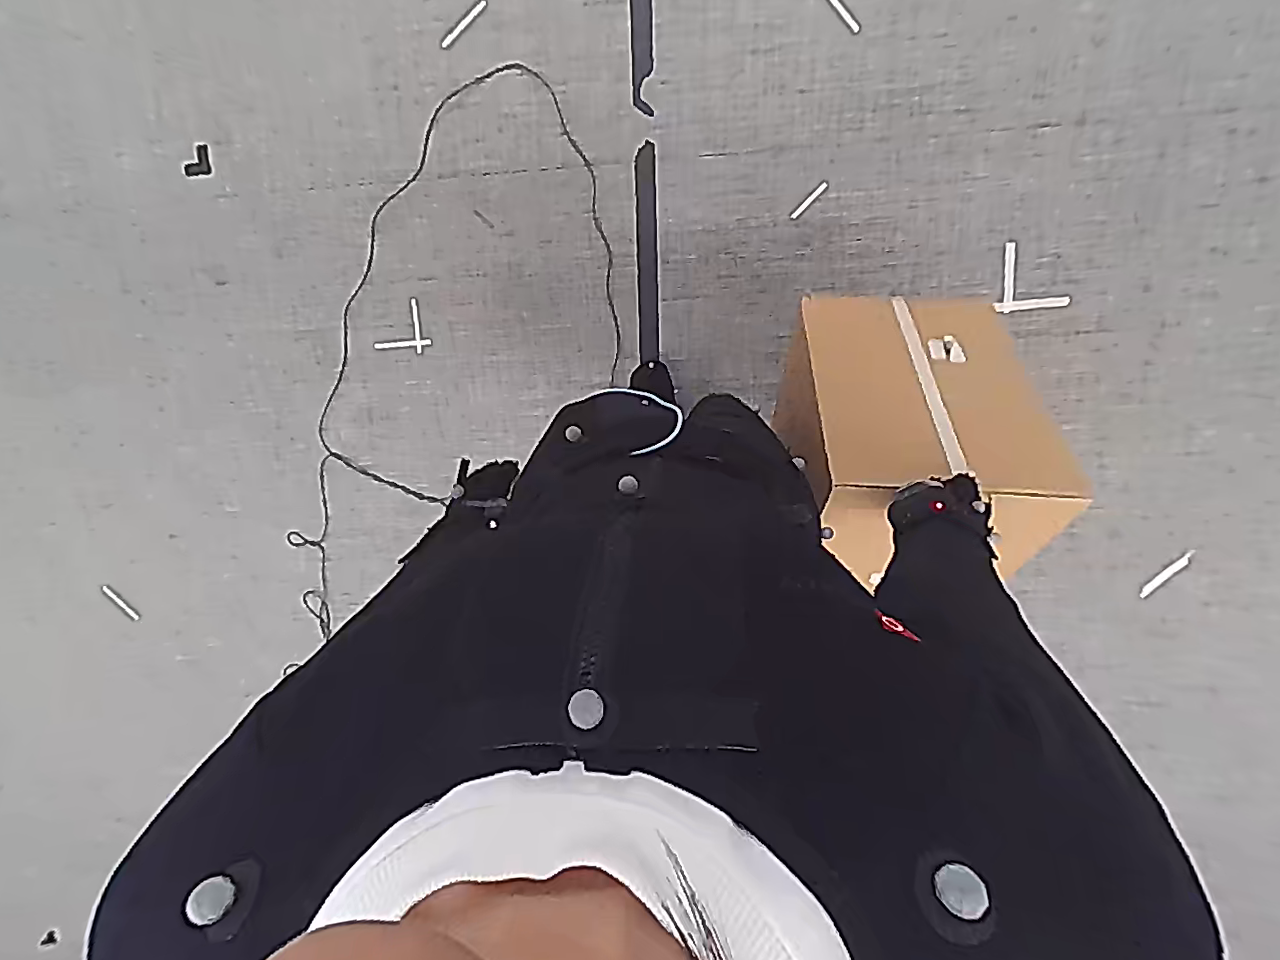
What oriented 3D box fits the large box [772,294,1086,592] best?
[{"bbox_3d":[0.415,-0.059,0.909,0.320,0.408,0.320,3,143,2],"label":"large box"}]
